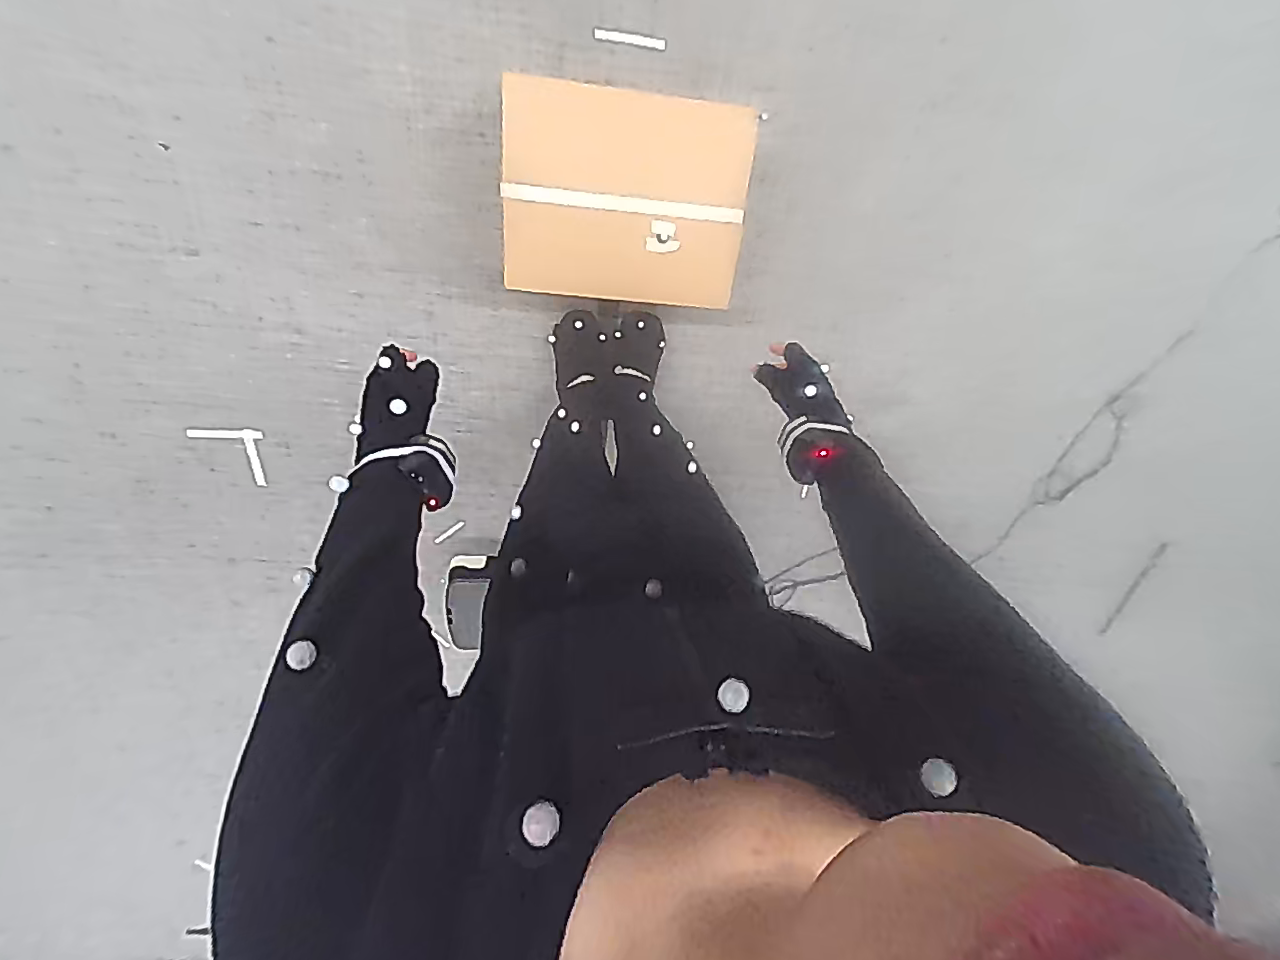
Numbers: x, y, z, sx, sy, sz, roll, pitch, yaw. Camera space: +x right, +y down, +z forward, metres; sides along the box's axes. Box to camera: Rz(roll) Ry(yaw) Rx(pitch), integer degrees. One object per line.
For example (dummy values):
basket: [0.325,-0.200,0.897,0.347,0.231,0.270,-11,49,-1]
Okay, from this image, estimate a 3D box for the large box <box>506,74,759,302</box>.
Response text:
large box: [-0.035,-0.536,1.033,0.408,0.320,0.320,2,118,-8]
